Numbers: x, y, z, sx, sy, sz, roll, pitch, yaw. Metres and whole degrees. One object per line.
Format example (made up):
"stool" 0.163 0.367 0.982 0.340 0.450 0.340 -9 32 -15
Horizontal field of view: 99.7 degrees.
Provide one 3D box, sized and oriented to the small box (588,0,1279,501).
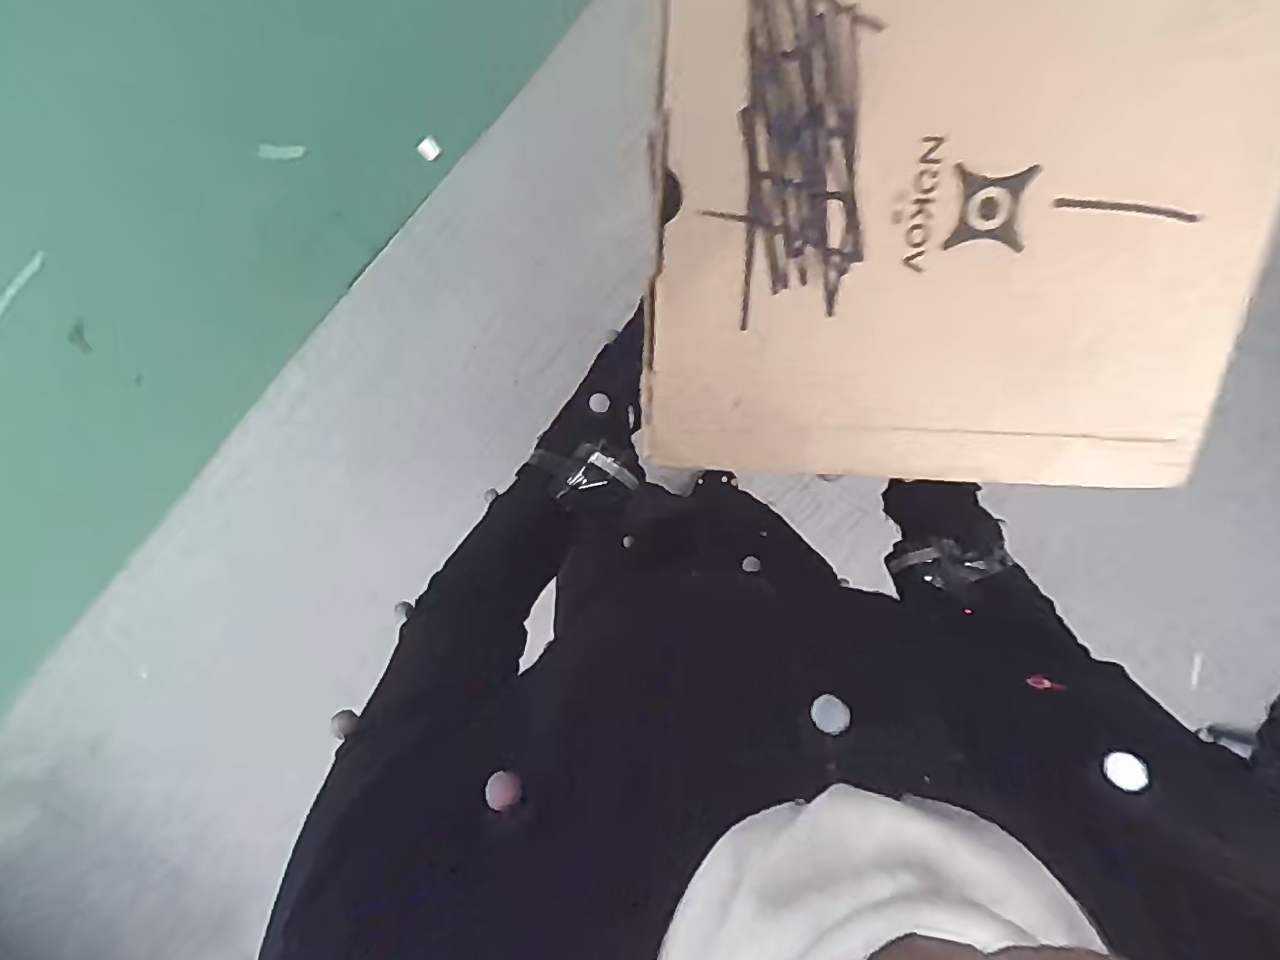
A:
"small box" 0.079 -0.100 0.229 0.179 0.176 0.168 3 108 3
